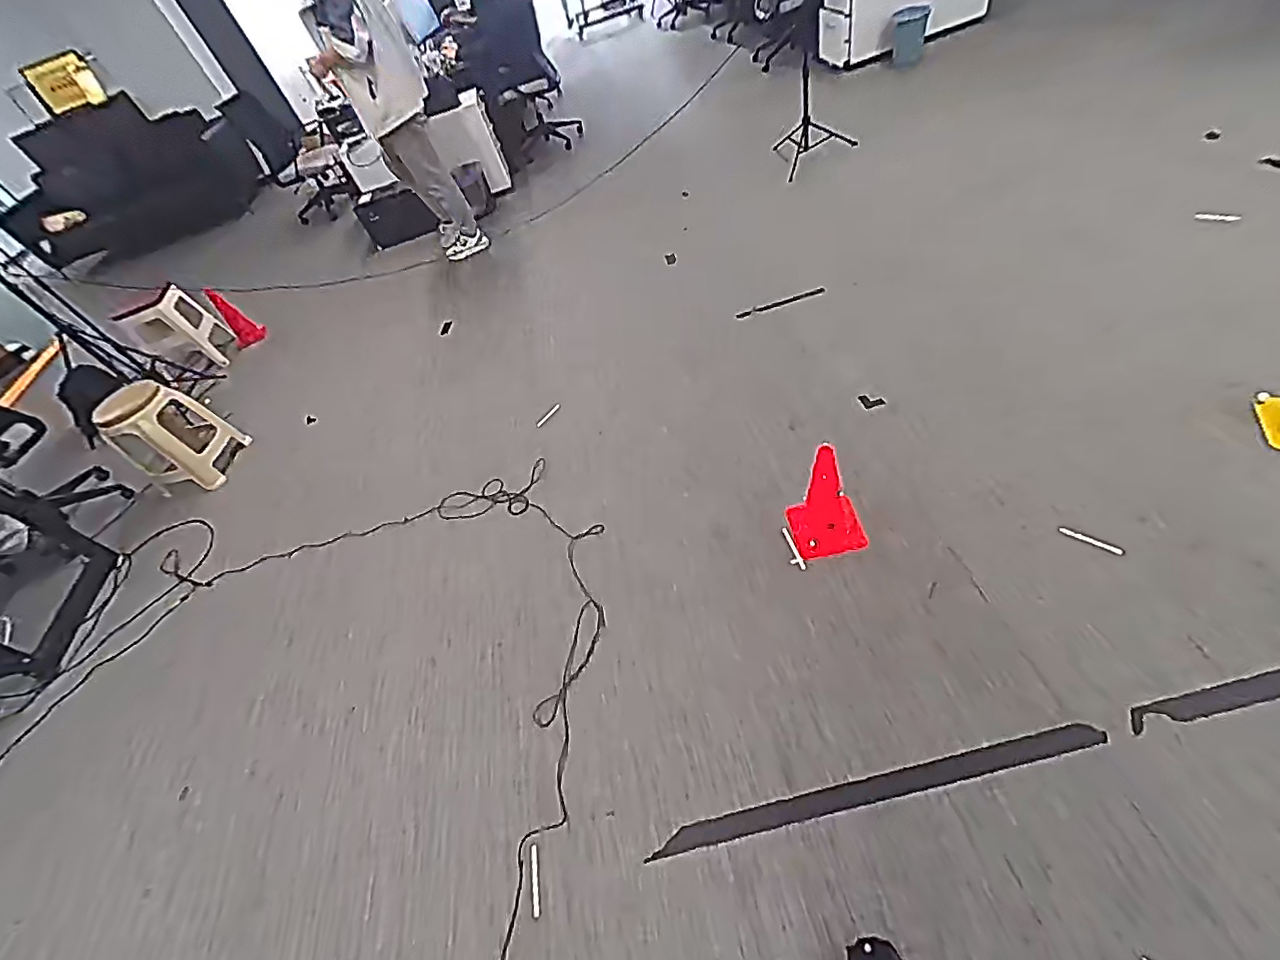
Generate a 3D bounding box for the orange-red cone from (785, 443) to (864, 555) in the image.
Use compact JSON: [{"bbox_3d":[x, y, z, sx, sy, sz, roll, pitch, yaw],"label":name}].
[{"bbox_3d":[0.514,0.026,1.506,0.199,0.360,0.198,-12,49,7],"label":"orange-red cone"}]
